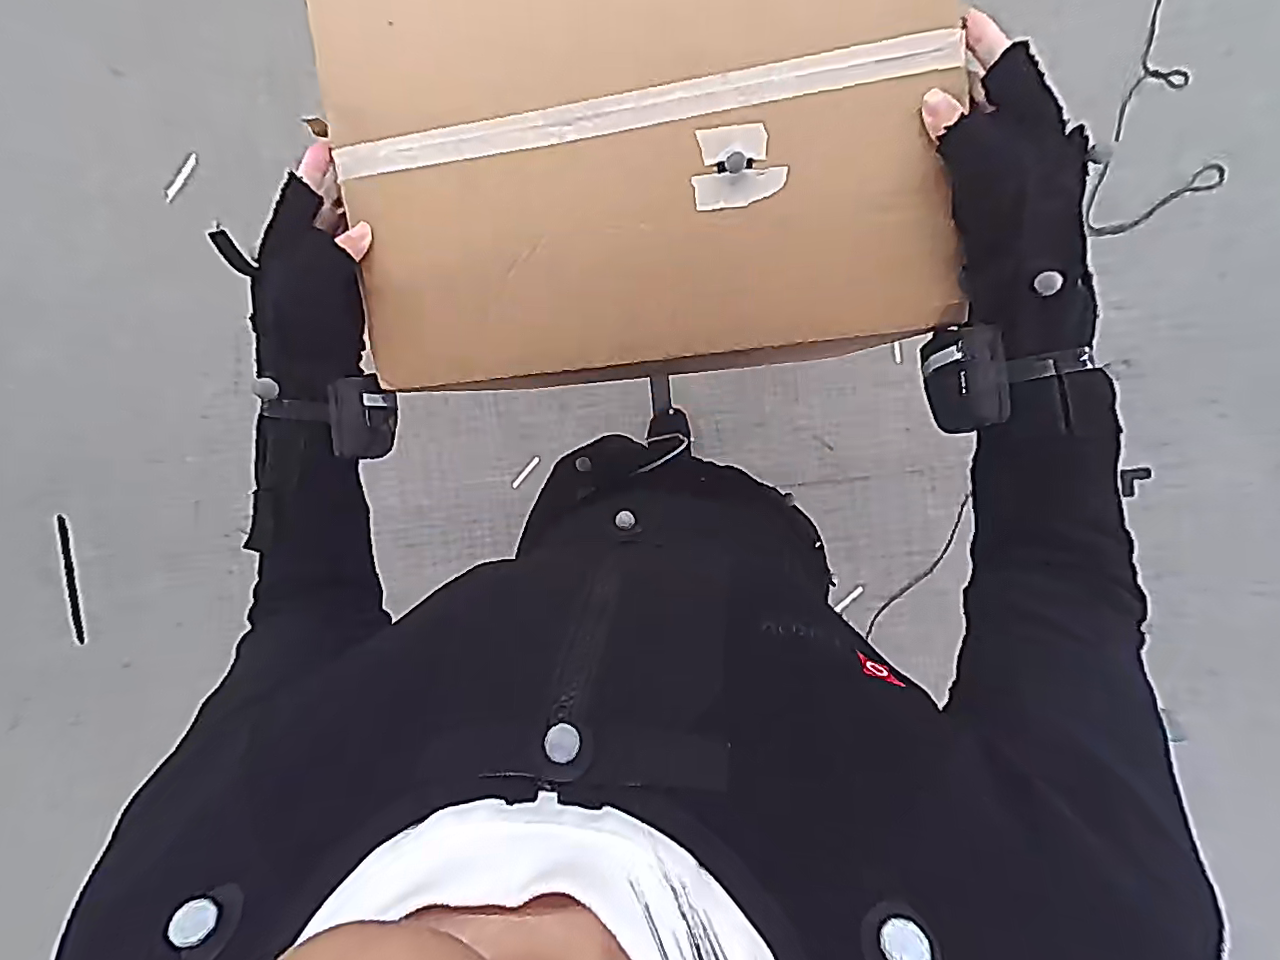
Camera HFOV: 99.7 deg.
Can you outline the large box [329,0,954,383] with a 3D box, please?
[{"bbox_3d":[0.009,-0.271,0.505,0.408,0.320,0.320,-5,100,7],"label":"large box"}]
